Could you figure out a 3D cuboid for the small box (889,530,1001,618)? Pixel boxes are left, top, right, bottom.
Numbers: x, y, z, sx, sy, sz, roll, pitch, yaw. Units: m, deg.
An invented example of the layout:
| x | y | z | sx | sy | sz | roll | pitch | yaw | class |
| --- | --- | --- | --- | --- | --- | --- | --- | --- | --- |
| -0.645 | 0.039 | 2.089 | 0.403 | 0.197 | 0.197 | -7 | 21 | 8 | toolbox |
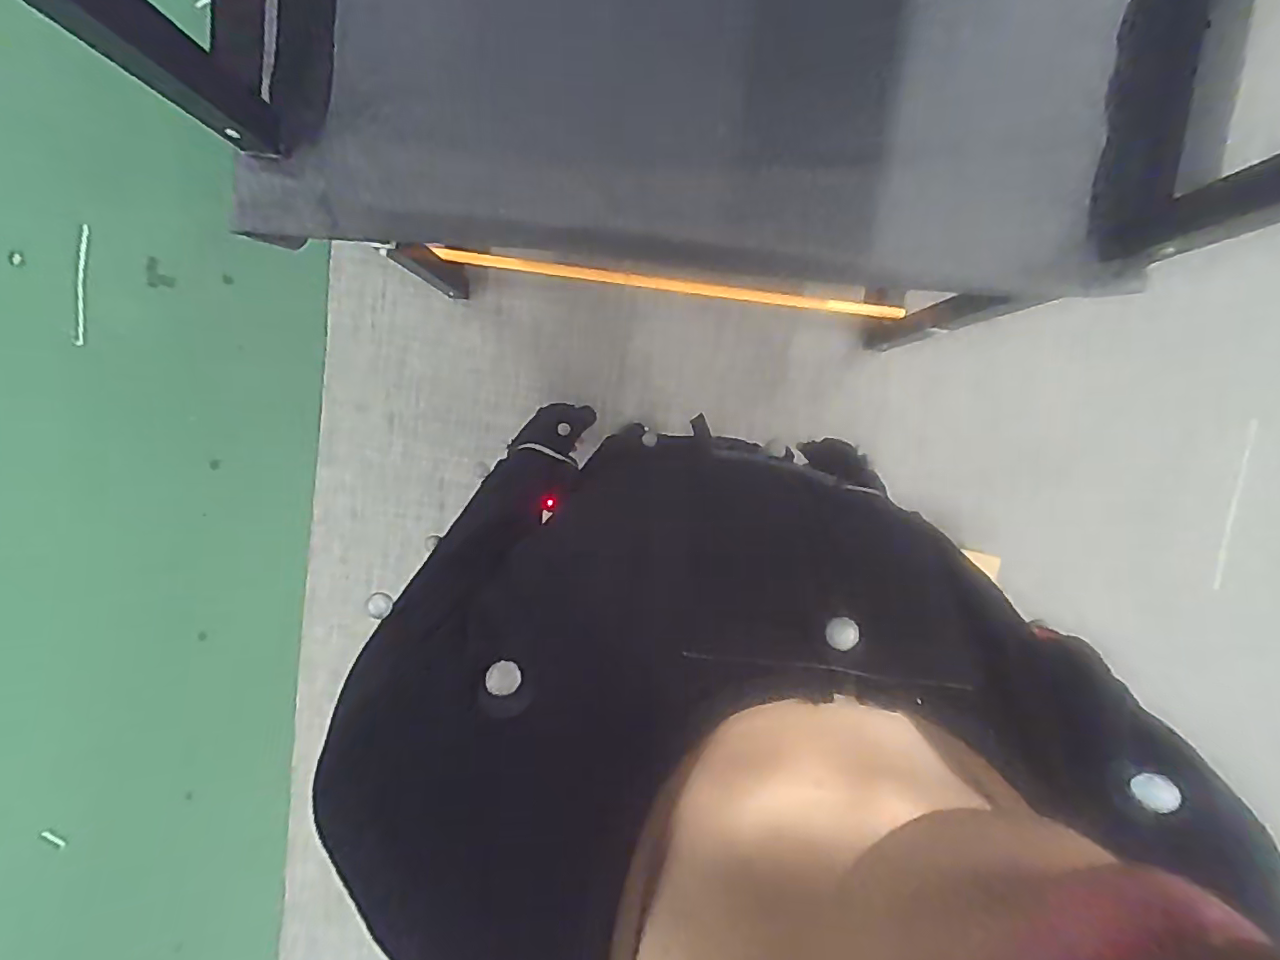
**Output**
| x | y | z | sx | sy | sz | roll | pitch | yaw | class |
| --- | --- | --- | --- | --- | --- | --- | --- | --- | --- |
| 0.794 | 0.239 | 1.422 | 0.179 | 0.176 | 0.168 | 13 | 95 | 0 | small box |
